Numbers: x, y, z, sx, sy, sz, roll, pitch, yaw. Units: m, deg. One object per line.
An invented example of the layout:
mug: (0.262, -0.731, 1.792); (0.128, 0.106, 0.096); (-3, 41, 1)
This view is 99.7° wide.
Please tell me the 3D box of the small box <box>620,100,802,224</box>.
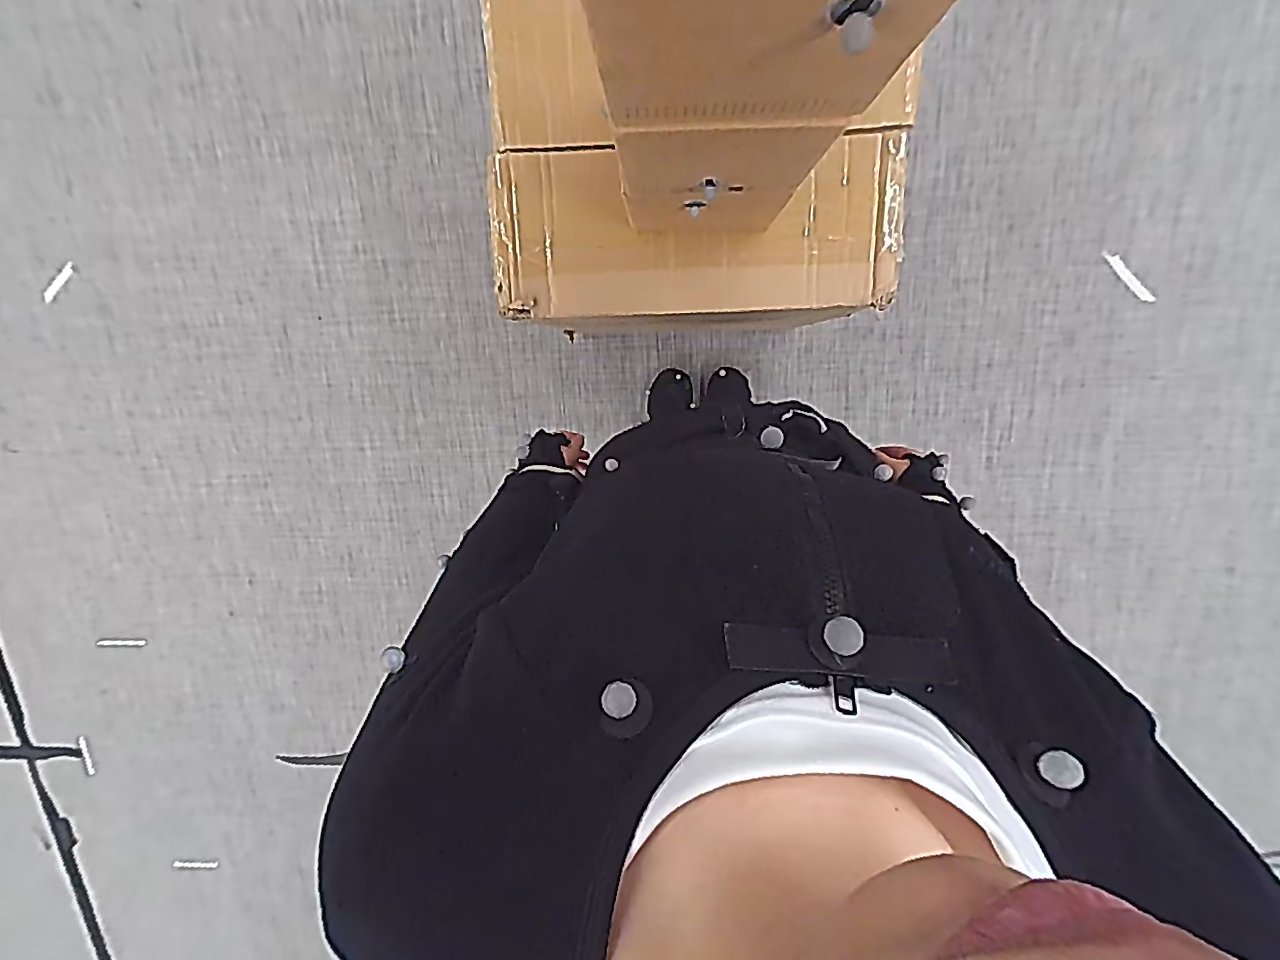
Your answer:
small box: (0.072, -0.387, 0.591); (0.179, 0.176, 0.168); (0, 103, 3)

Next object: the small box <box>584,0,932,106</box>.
small box: (0.060, -0.315, 0.270); (0.179, 0.176, 0.168); (0, 103, 3)
